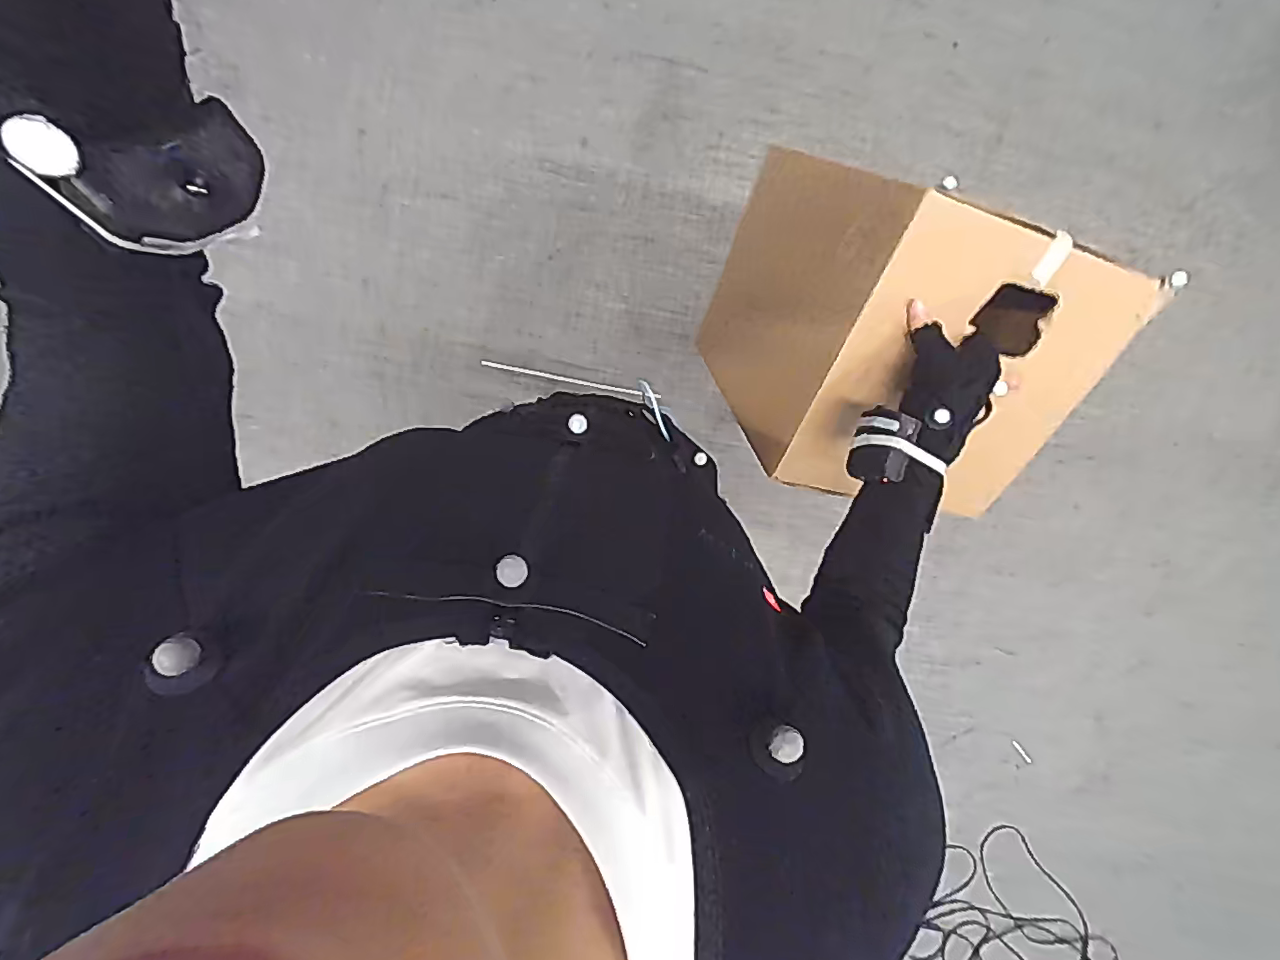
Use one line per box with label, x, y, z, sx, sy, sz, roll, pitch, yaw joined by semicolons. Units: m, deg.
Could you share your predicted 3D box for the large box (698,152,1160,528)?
large box;0.313;-0.199;0.738;0.320;0.408;0.320;12;125;-17
